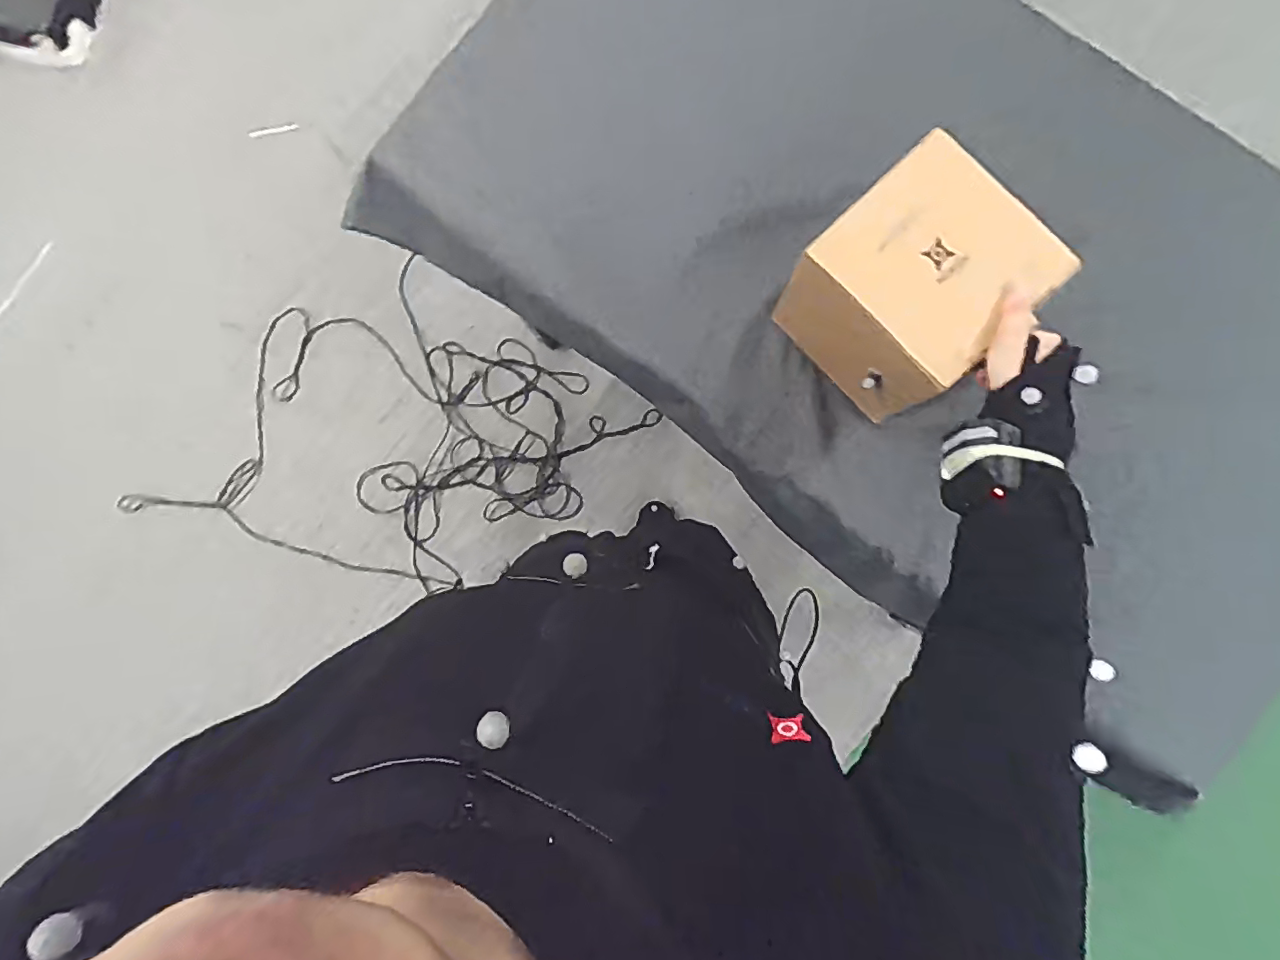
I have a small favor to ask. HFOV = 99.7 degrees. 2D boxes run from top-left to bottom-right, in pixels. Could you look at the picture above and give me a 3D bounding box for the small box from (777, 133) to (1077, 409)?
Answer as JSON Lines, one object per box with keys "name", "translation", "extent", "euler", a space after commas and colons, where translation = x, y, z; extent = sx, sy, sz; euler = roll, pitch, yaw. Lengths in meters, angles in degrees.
{"name": "small box", "translation": [0.268, -0.190, 0.554], "extent": [0.168, 0.176, 0.179], "euler": [-43, 84, 0]}
